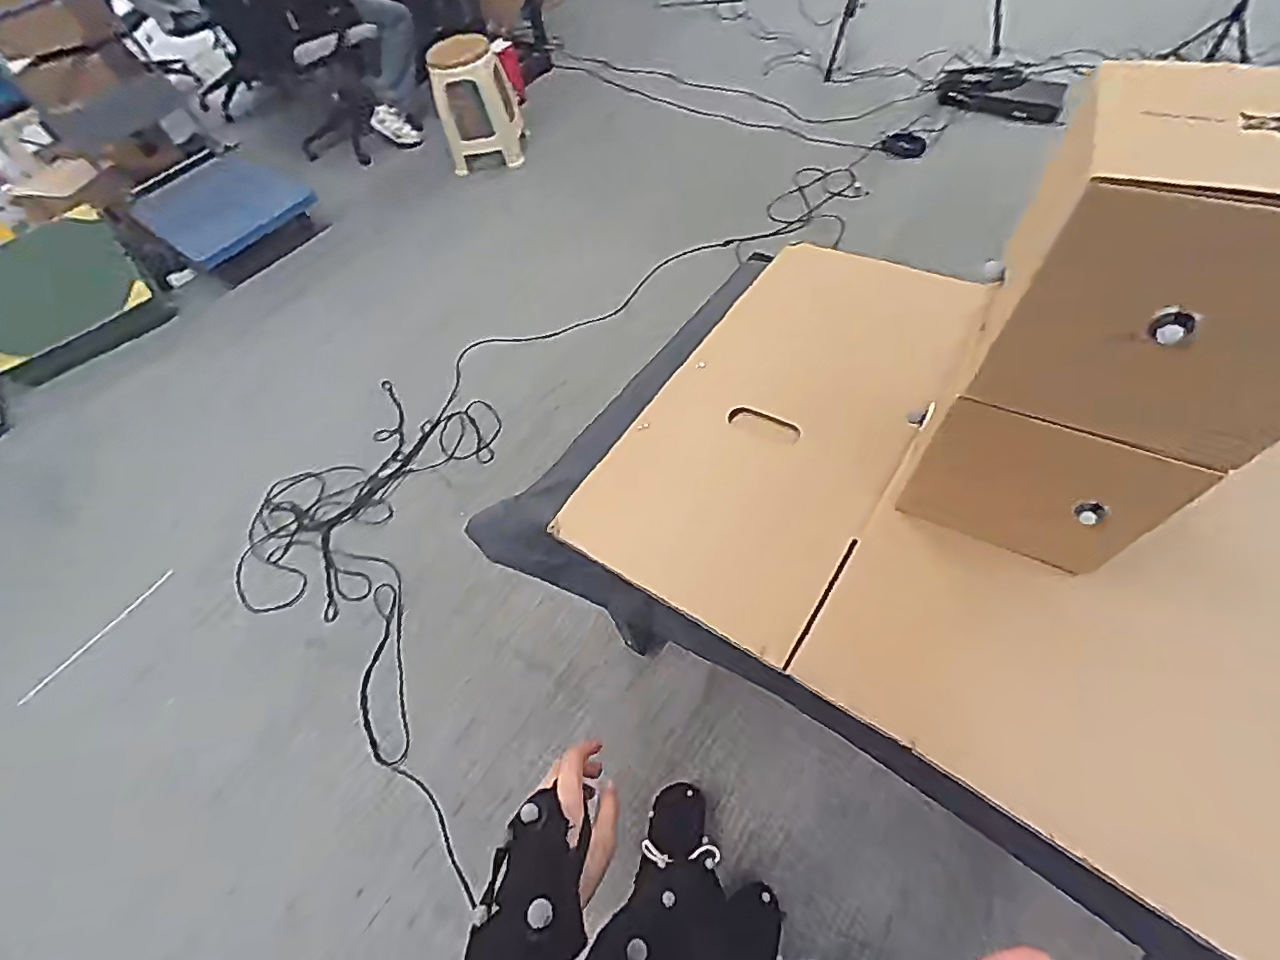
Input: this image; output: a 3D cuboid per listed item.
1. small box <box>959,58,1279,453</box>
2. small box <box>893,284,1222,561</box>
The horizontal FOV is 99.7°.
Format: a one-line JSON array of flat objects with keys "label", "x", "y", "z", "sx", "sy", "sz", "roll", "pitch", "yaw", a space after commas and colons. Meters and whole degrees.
[{"label": "small box", "x": 0.351, "y": -0.142, "z": 0.361, "sx": 0.179, "sy": 0.176, "sz": 0.168, "roll": 21, "pitch": 60, "yaw": 19}, {"label": "small box", "x": 0.362, "y": -0.048, "z": 0.495, "sx": 0.179, "sy": 0.176, "sz": 0.168, "roll": 21, "pitch": 60, "yaw": 20}]
